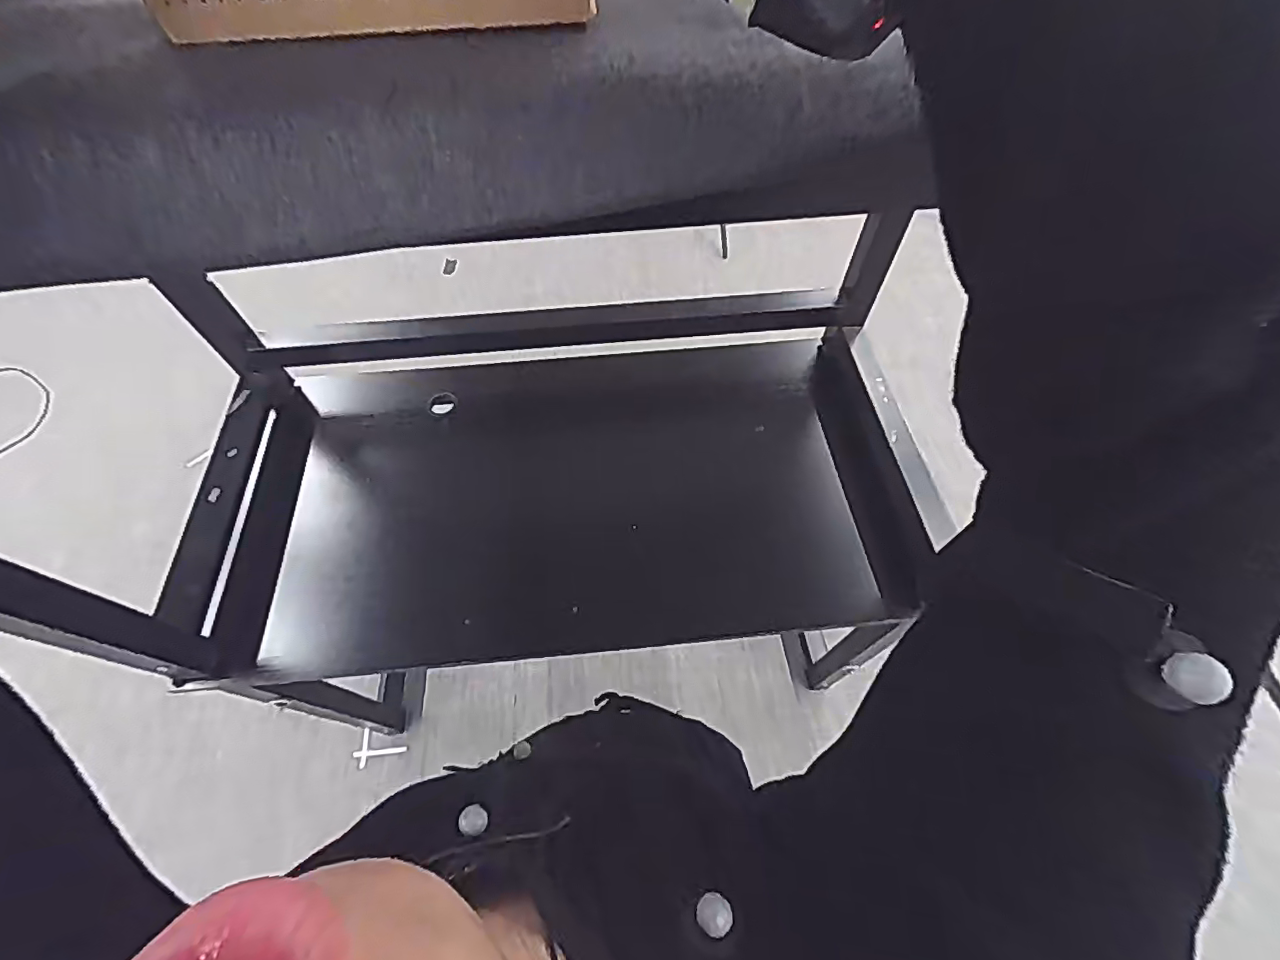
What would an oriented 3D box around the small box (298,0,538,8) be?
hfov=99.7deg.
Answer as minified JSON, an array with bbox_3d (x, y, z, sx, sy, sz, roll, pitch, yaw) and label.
[{"bbox_3d":[-0.107,-0.292,0.185,0.168,0.176,0.179,-5,56,-2],"label":"small box"}]
